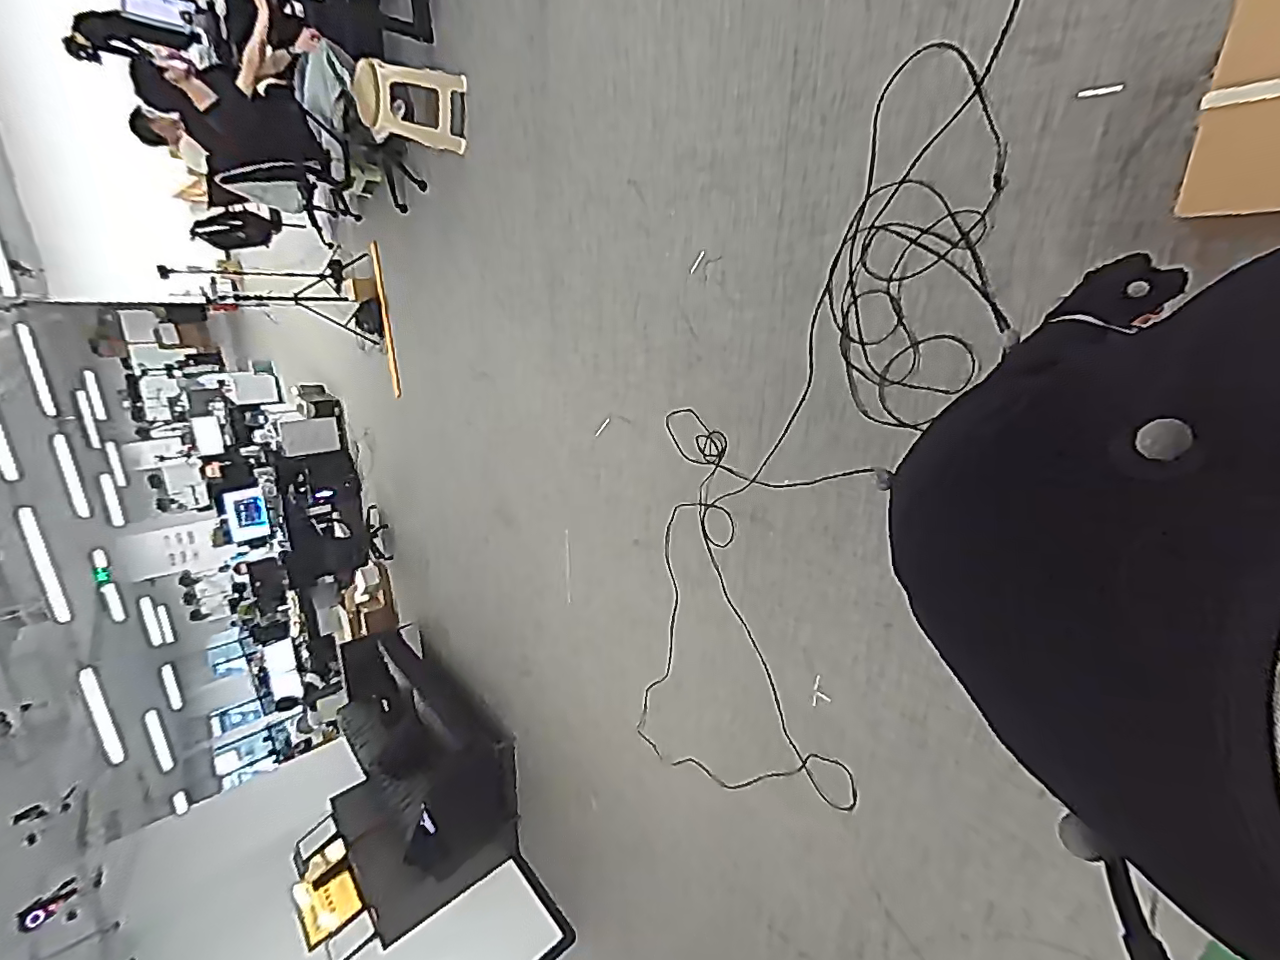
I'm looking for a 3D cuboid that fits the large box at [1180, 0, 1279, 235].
[{"bbox_3d":[1.068,-0.535,0.743,0.408,0.320,0.320,20,116,44],"label":"large box"}]
